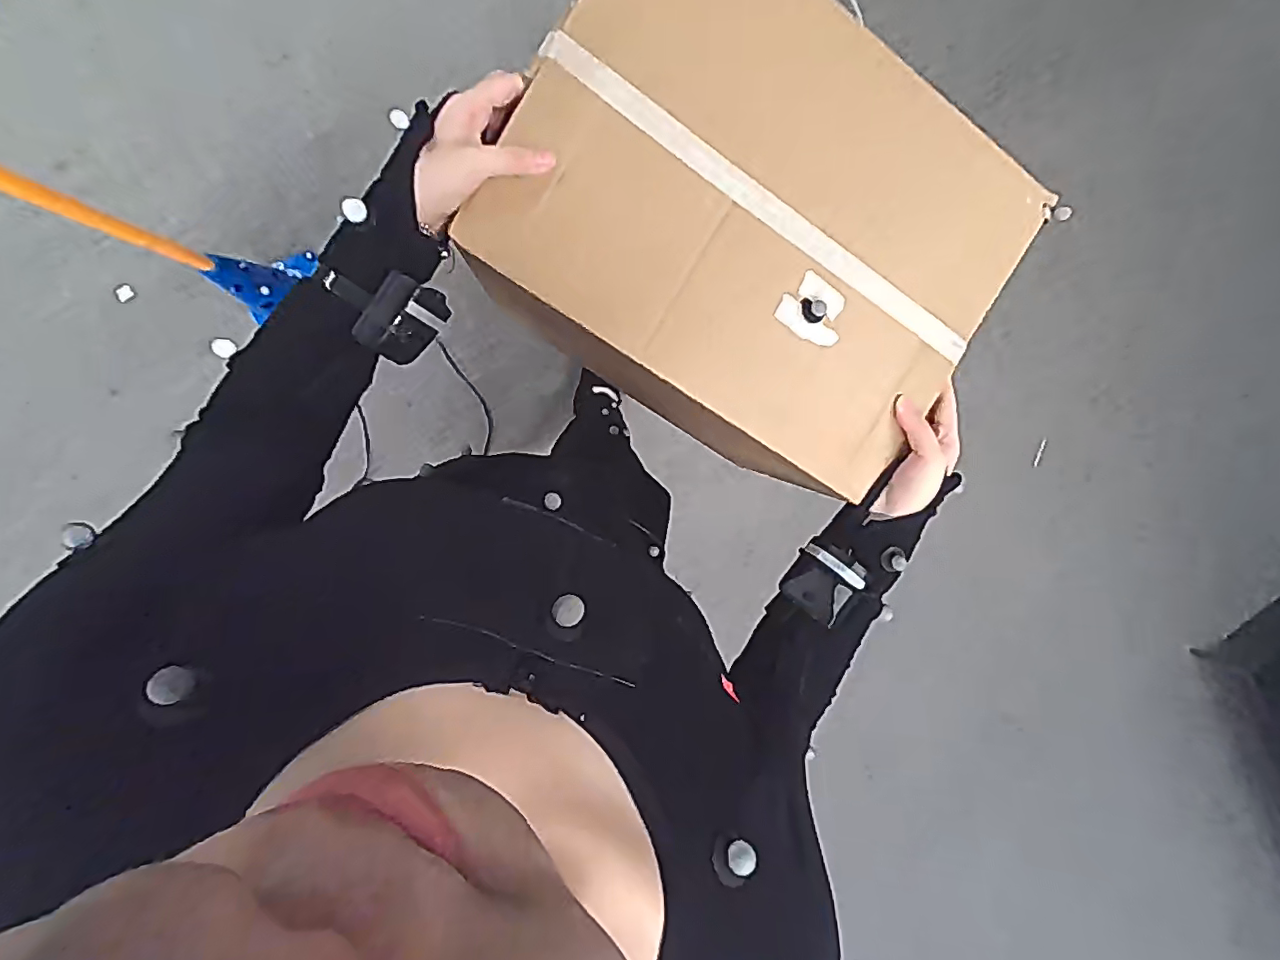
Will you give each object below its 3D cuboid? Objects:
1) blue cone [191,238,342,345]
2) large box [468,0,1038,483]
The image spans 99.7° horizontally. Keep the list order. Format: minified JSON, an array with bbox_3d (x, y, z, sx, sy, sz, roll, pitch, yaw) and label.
[{"bbox_3d":[-0.807,-0.419,1.139,0.193,0.380,0.192,-24,99,-7],"label":"blue cone"},{"bbox_3d":[0.084,-0.241,0.585,0.408,0.320,0.320,31,93,-13],"label":"large box"}]
